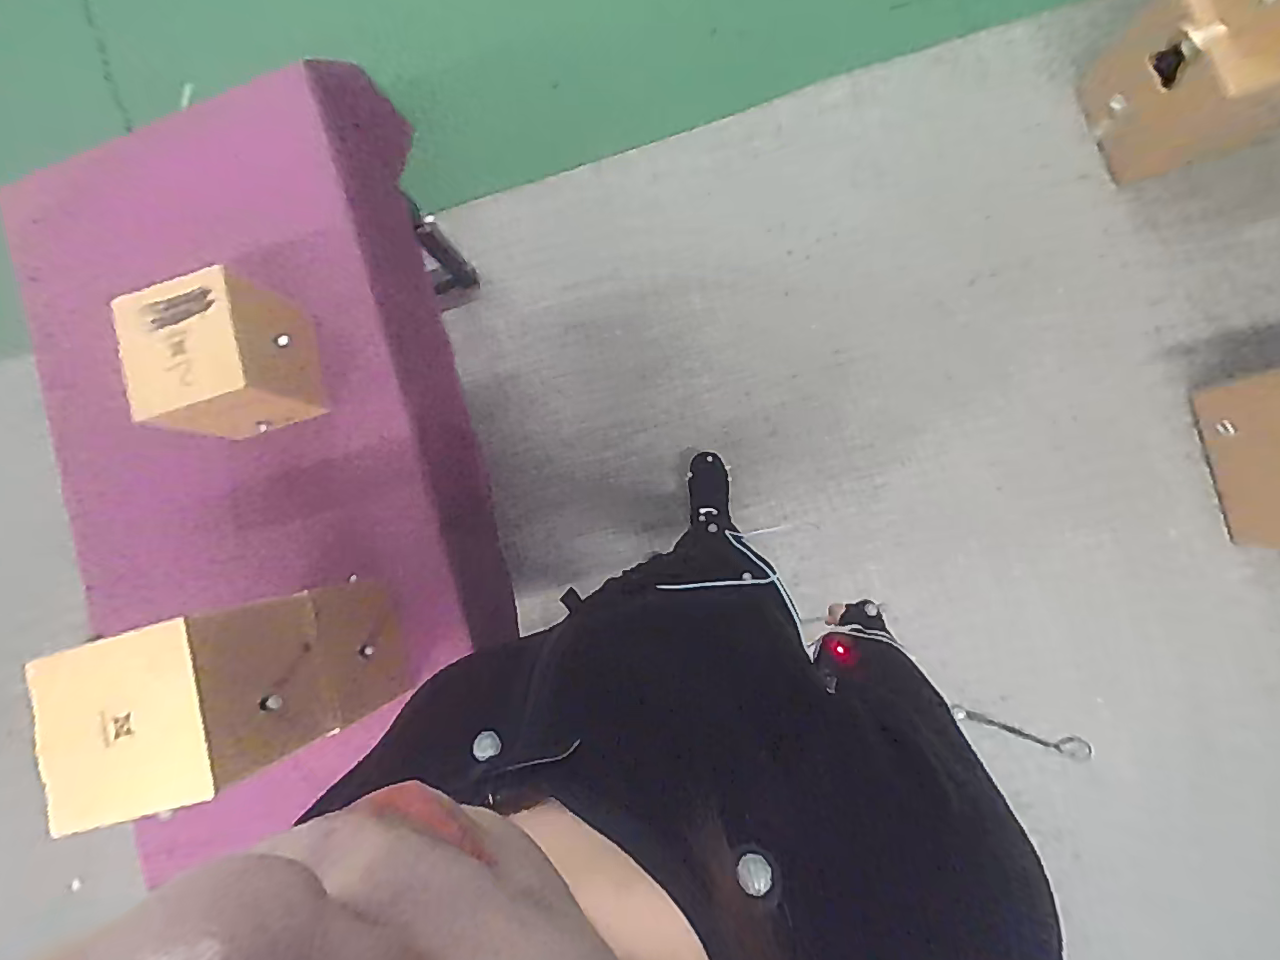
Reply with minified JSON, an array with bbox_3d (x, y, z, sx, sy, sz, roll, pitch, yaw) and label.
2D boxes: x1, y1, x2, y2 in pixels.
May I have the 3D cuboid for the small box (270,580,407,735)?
[{"bbox_3d":[-0.451,0.241,0.740,0.168,0.176,0.179,-17,85,5],"label":"small box"}]

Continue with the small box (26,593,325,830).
[{"bbox_3d":[-0.471,0.229,0.579,0.179,0.176,0.168,-16,84,6],"label":"small box"}]
